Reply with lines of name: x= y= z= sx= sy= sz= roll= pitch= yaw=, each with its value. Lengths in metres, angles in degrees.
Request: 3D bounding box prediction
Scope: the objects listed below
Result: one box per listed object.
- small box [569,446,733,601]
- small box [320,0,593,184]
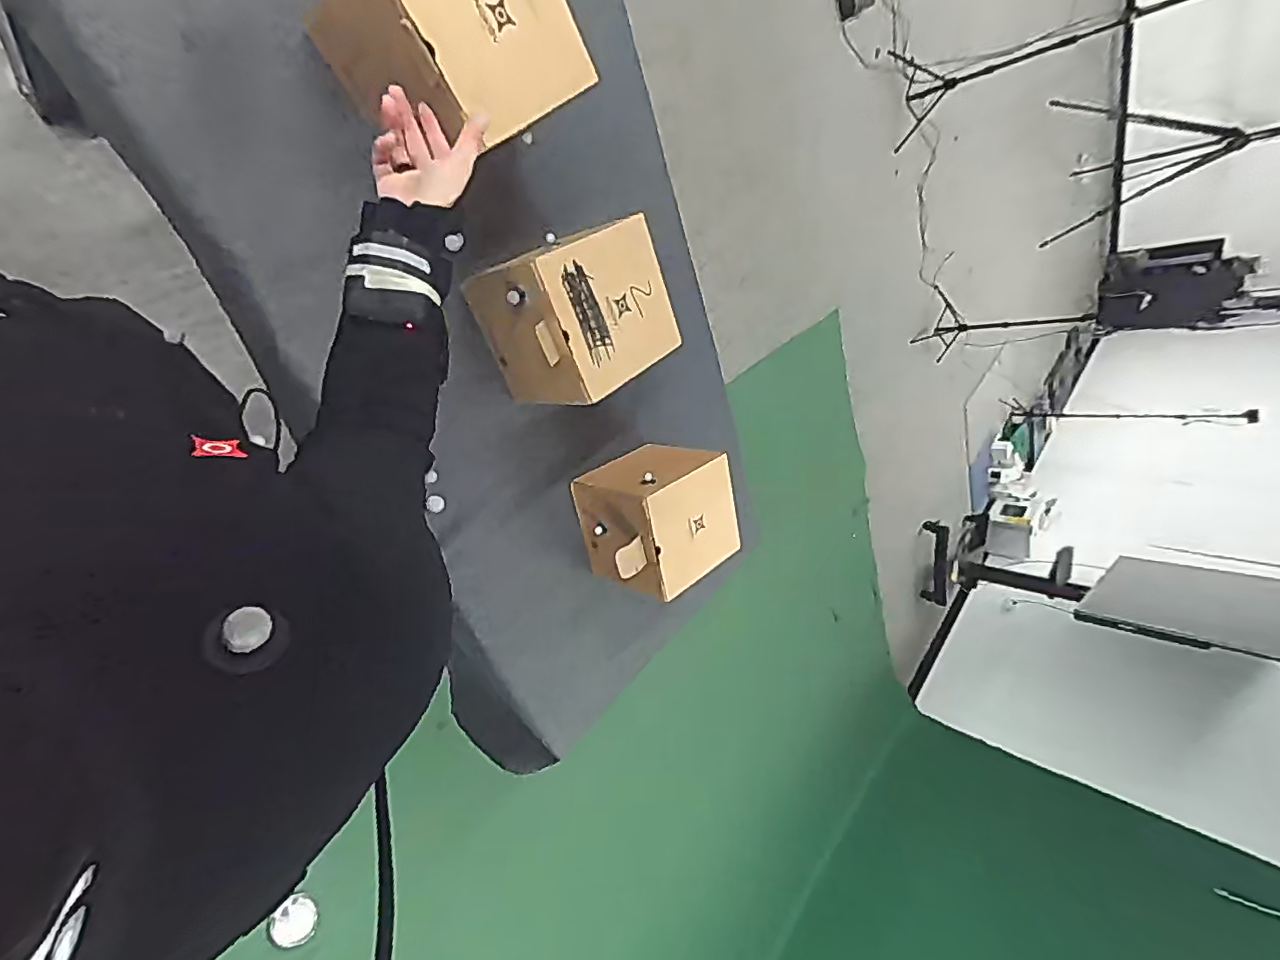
small box: x=0.019 y=0.053 z=0.839 sx=0.179 sy=0.176 sz=0.168 roll=-28 pitch=116 yaw=-37
small box: x=-0.188 y=-0.433 z=0.548 sx=0.179 sy=0.176 sz=0.168 roll=-51 pitch=130 yaw=-26
